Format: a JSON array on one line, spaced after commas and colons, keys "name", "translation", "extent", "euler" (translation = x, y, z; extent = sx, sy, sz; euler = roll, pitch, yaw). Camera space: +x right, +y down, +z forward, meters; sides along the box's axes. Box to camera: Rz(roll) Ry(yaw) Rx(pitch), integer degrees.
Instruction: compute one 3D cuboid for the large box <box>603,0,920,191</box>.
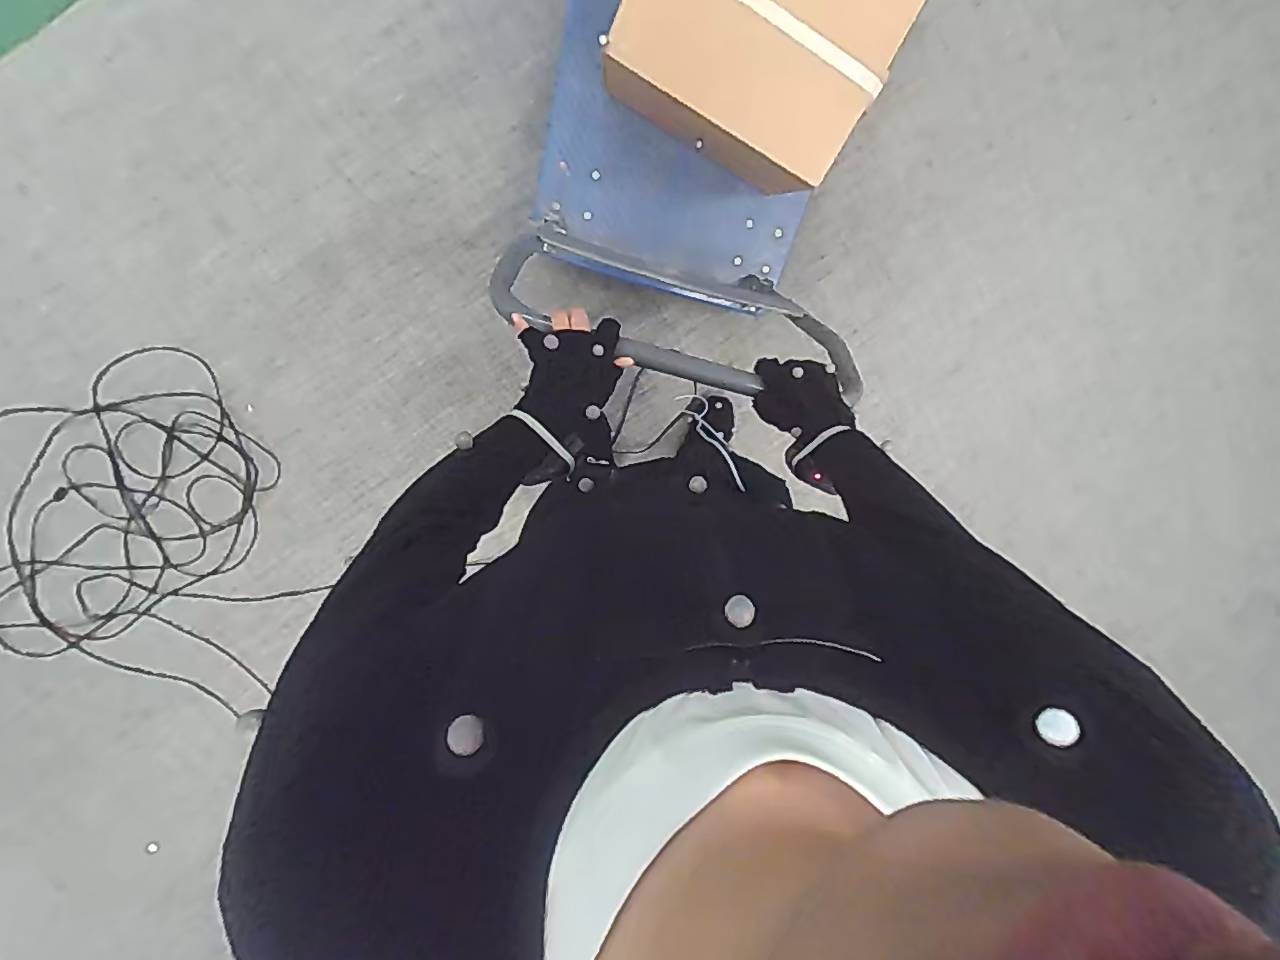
[{"name": "large box", "translation": [0.185, -0.757, 0.947], "extent": [0.408, 0.320, 0.320], "euler": [25, 112, -13]}]
